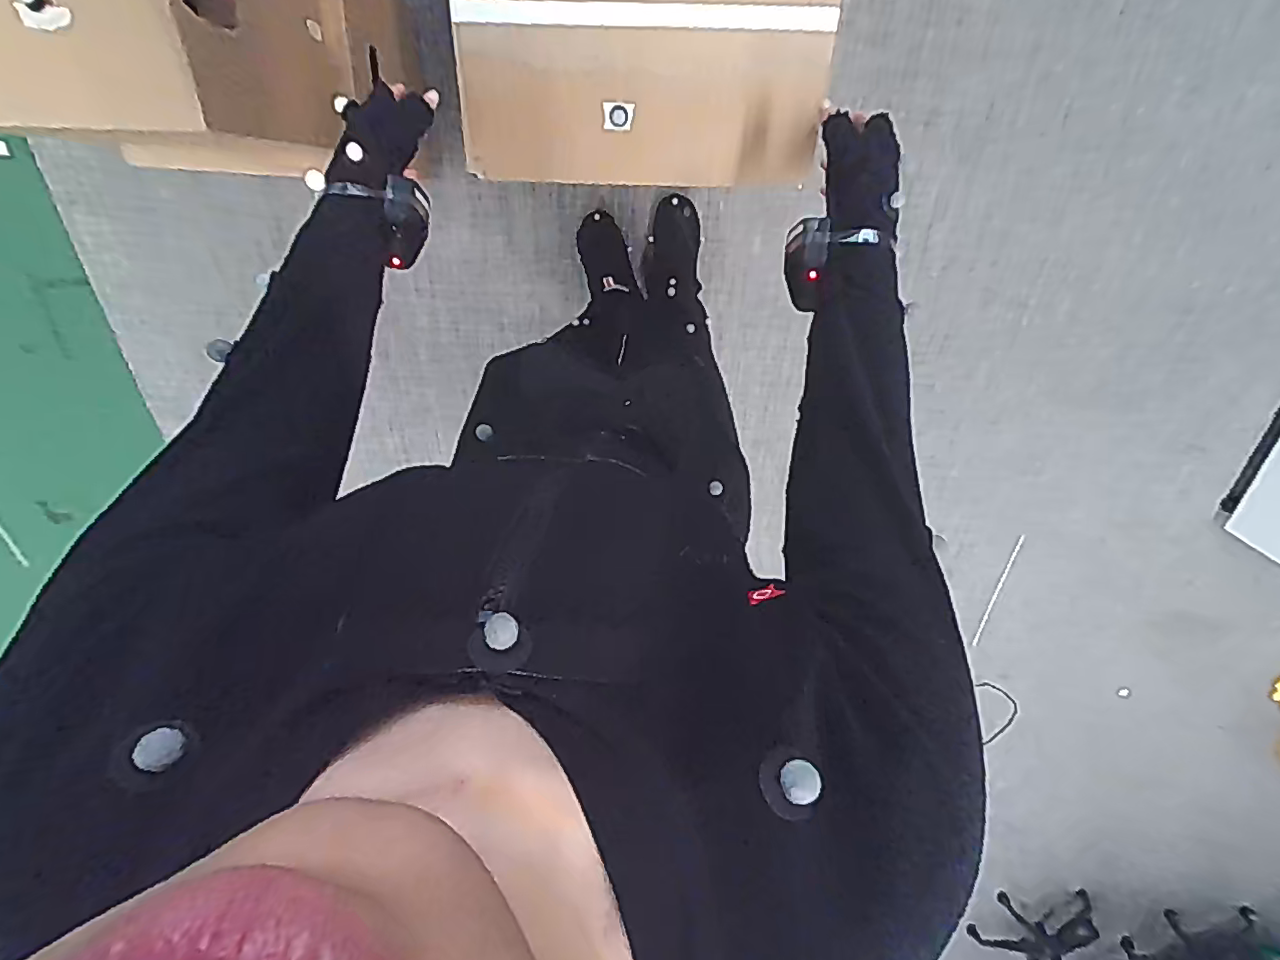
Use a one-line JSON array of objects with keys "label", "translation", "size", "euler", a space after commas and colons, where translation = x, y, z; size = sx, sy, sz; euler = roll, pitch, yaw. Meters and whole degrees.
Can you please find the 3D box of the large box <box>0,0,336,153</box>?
[{"label": "large box", "translation": [-0.684, -0.612, 0.682], "size": [0.408, 0.320, 0.320], "euler": [2, 116, -1]}]
